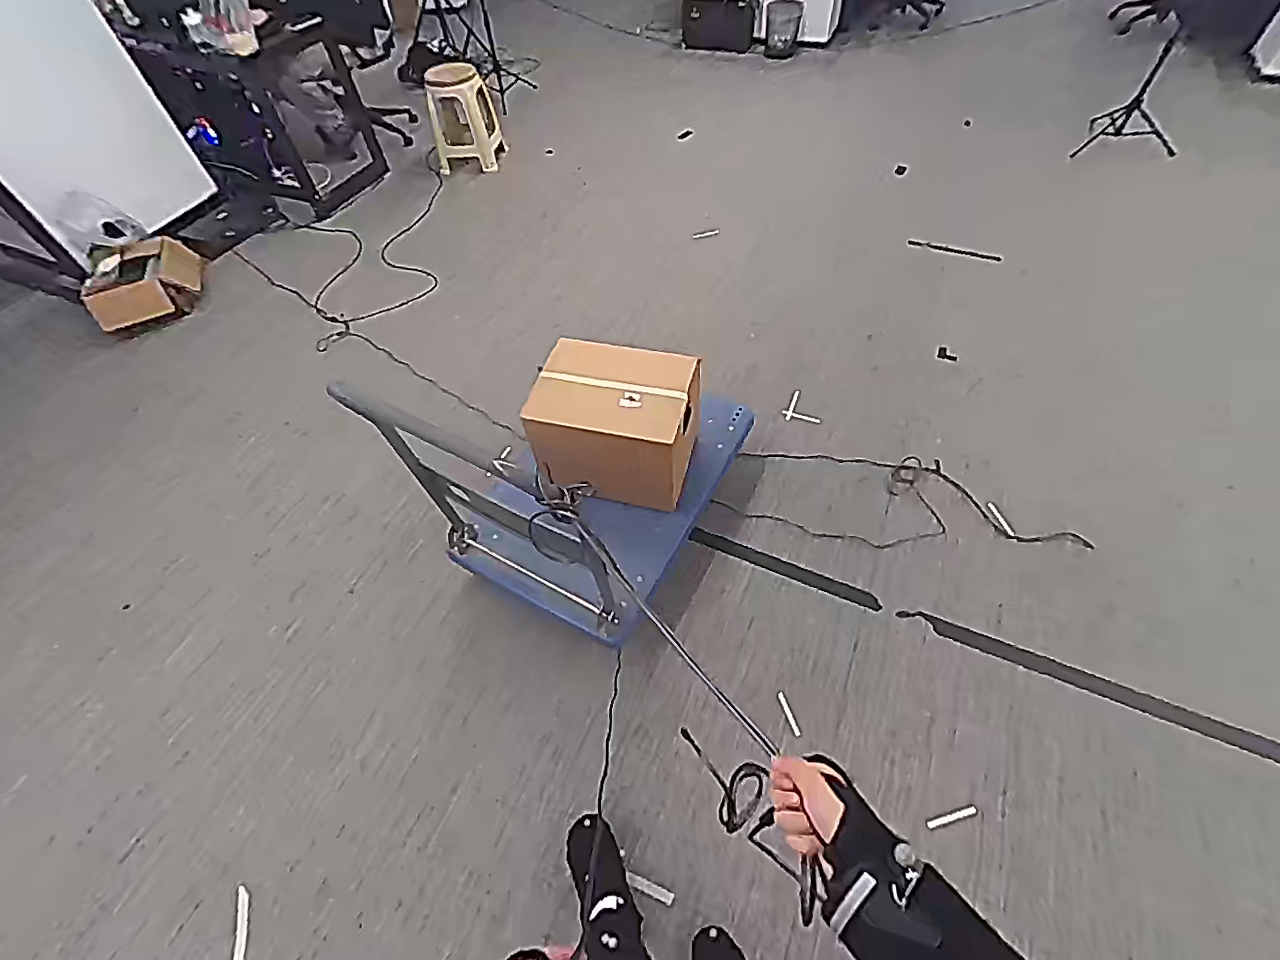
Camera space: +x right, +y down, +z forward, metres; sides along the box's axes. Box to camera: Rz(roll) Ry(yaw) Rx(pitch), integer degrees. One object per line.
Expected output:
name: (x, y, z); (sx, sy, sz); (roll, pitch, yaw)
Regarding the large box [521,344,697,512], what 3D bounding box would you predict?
large box: (-0.068, -0.143, 1.525); (0.408, 0.320, 0.320); (11, 56, 11)
